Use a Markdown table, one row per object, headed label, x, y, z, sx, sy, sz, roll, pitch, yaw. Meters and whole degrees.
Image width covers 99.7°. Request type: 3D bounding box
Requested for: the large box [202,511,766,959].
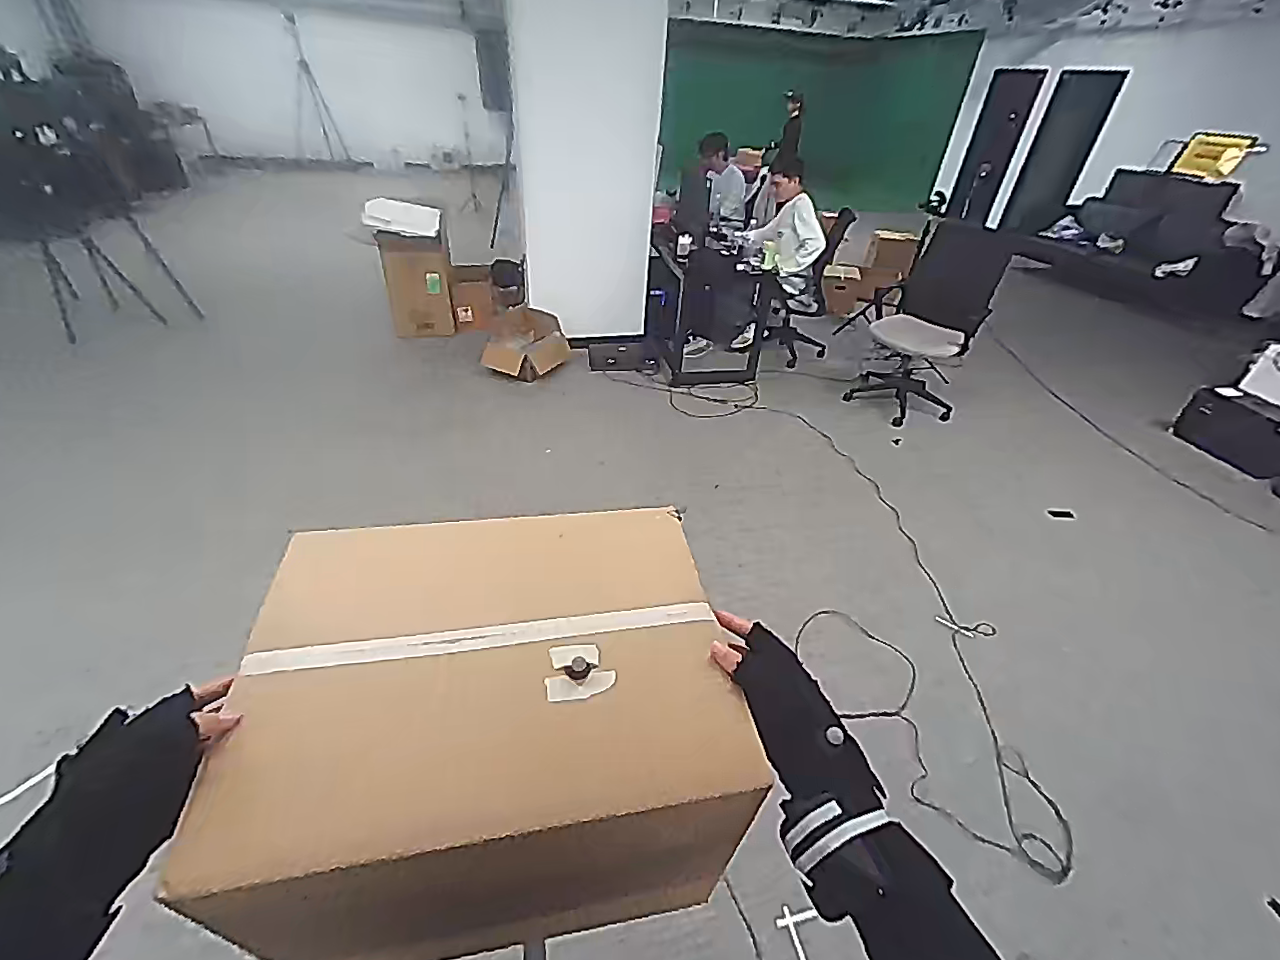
| label | x | y | z | sx | sy | sz | roll | pitch | yaw |
| --- | --- | --- | --- | --- | --- | --- | --- | --- | --- |
| large box | -0.135 | 0.260 | 0.590 | 0.408 | 0.320 | 0.320 | -3 | 40 | -12 |
